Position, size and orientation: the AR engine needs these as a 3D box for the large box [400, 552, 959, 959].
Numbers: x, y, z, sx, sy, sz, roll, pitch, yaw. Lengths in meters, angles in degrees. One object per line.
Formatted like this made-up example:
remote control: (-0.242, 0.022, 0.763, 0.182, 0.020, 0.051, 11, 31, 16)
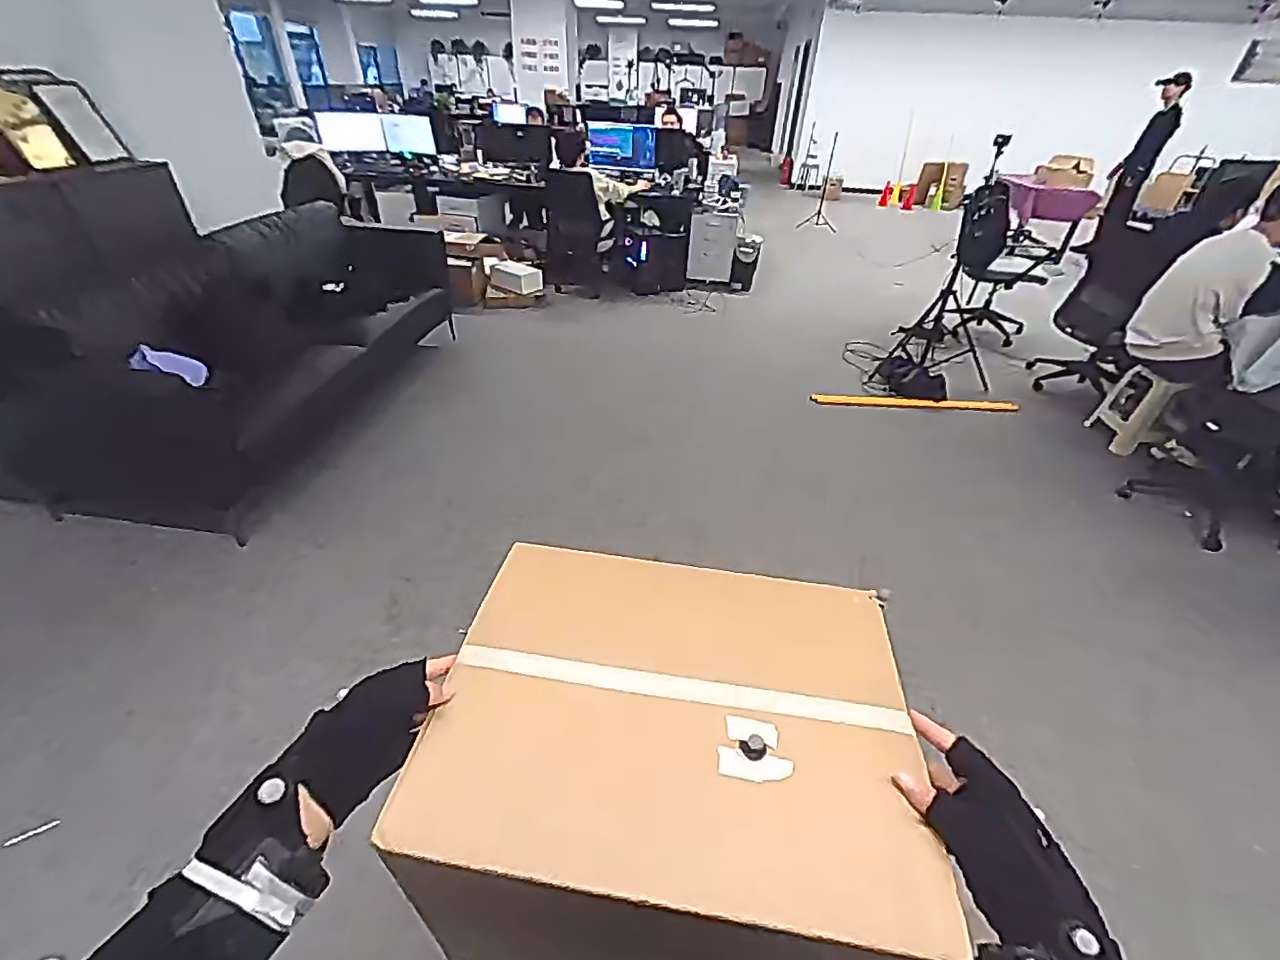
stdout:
large box: (0.032, 0.312, 0.581, 0.408, 0.320, 0.320, 7, 37, 6)
